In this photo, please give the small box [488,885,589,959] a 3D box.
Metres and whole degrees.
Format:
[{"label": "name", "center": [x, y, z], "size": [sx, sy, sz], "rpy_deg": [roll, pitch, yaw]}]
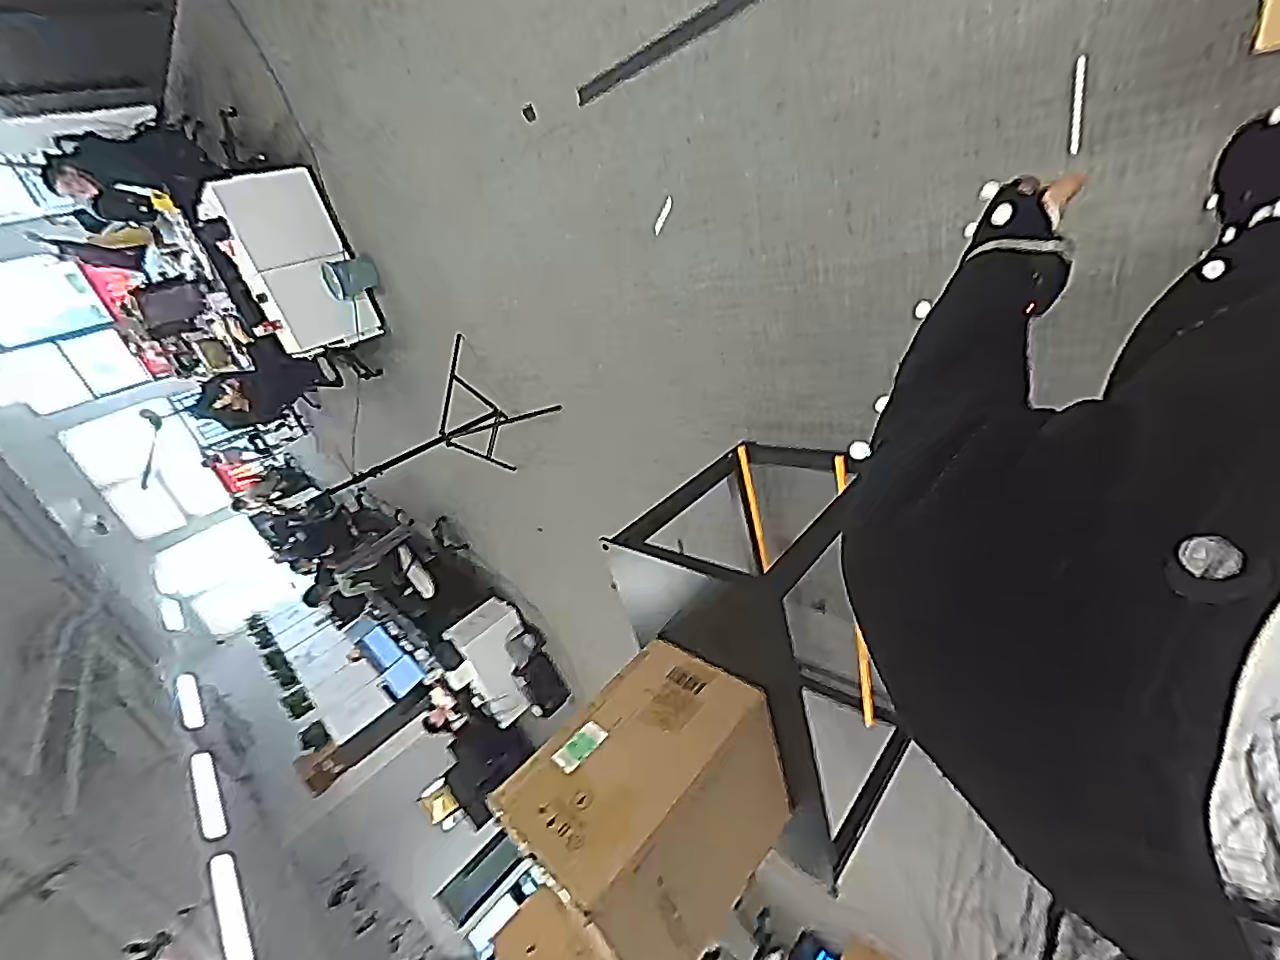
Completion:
[{"label": "small box", "center": [-0.246, 1.187, 1.363], "size": [0.179, 0.176, 0.168], "rpy_deg": [13, 127, 47]}]
